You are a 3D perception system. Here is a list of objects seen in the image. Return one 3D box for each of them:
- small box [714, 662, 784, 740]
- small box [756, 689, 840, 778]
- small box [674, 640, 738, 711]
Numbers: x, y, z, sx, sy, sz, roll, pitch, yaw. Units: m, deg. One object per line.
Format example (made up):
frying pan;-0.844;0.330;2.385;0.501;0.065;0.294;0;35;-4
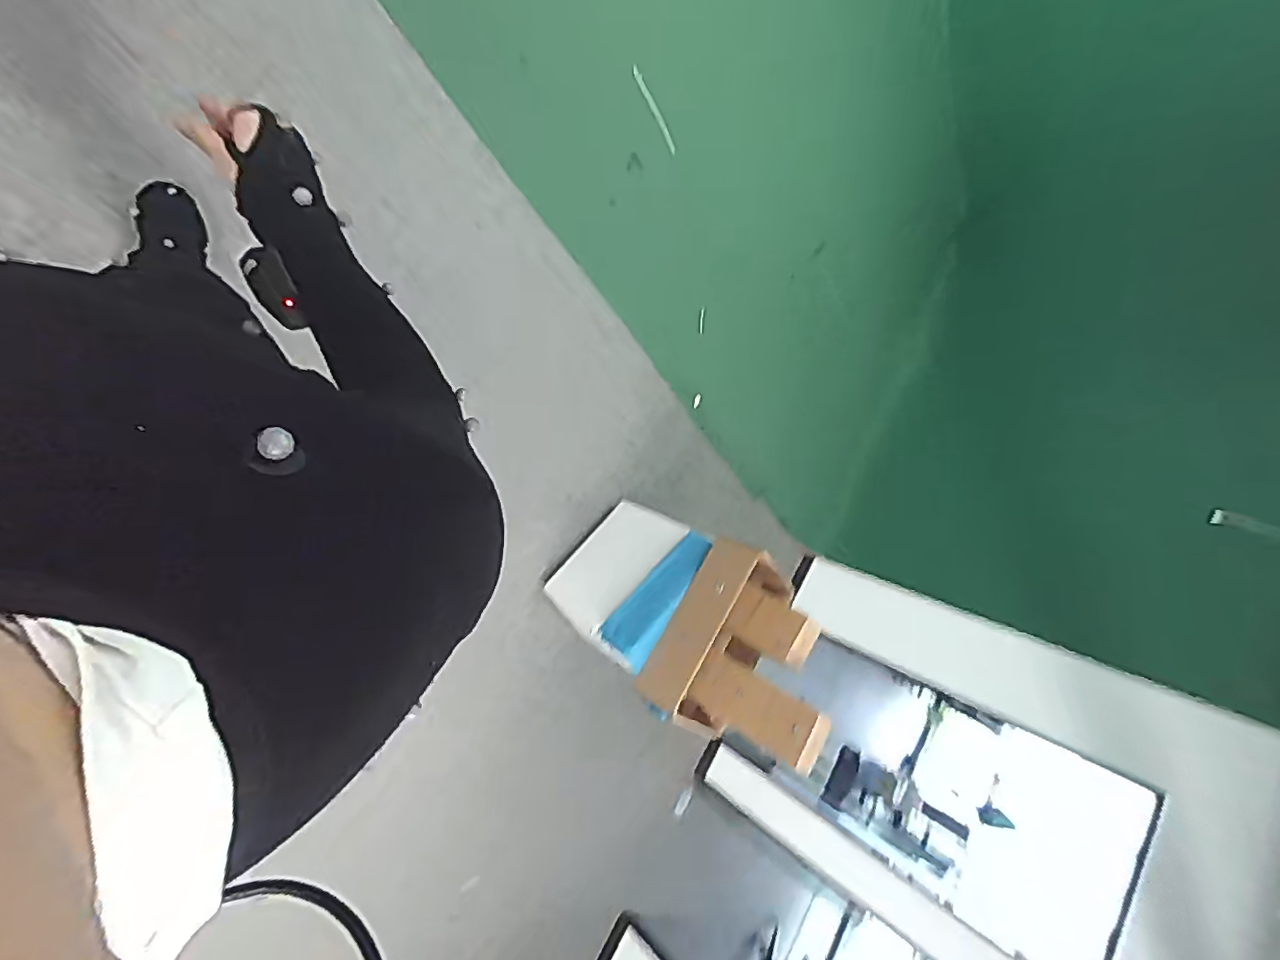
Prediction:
small box;0.360;0.719;1.745;0.179;0.176;0.168;-59;138;-14
small box;0.478;0.766;1.643;0.179;0.176;0.168;-58;138;-13
small box;0.243;0.676;1.851;0.179;0.176;0.168;-58;138;-14
